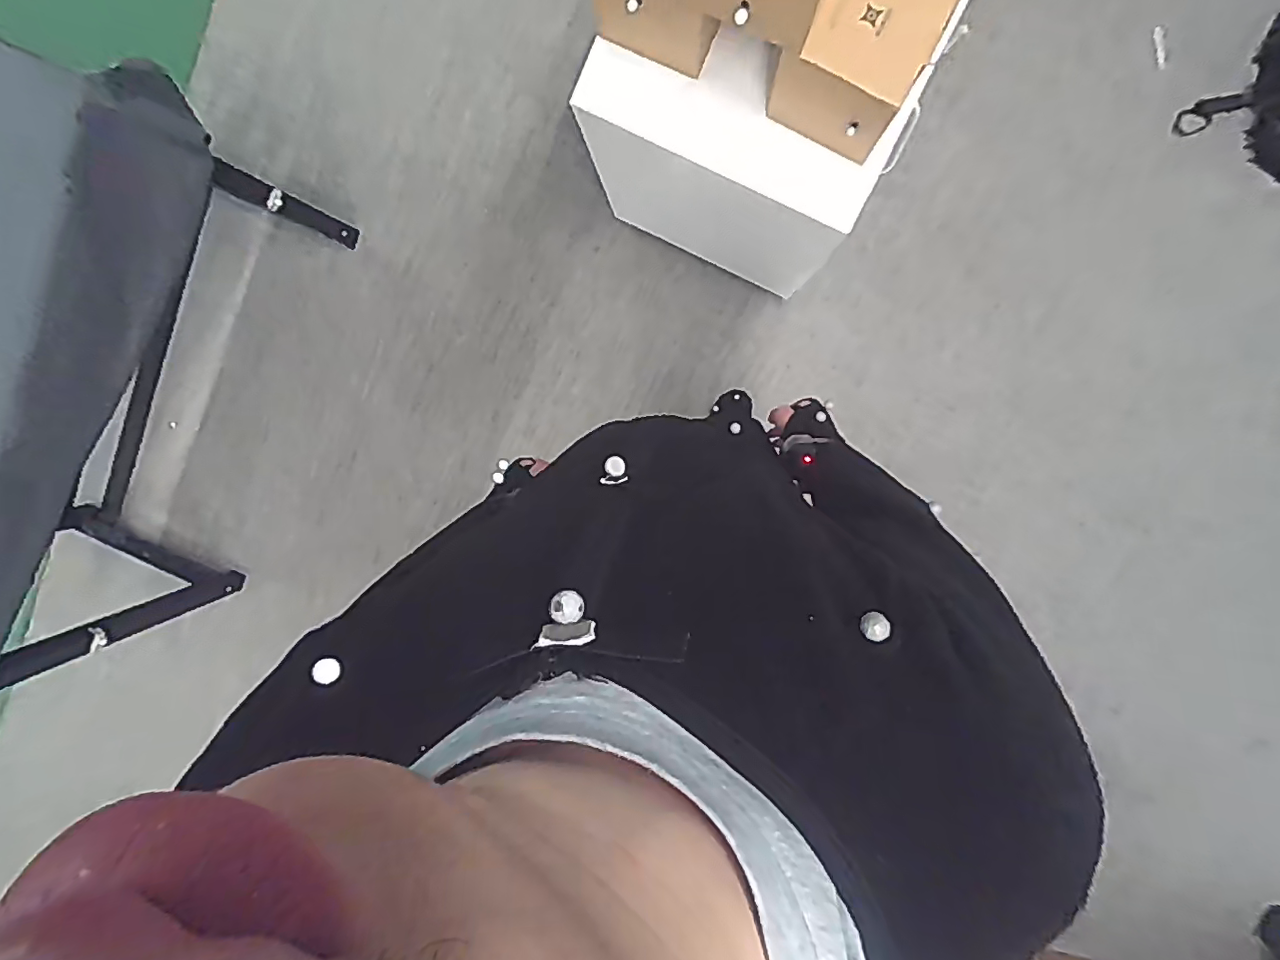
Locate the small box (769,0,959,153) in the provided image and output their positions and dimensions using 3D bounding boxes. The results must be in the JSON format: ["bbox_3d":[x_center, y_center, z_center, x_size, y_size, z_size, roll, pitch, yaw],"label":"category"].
[{"bbox_3d":[0.302,-0.599,0.759,0.179,0.176,0.168,28,99,3],"label":"small box"}]

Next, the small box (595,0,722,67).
[{"bbox_3d":[0.037,-0.737,0.761,0.179,0.176,0.168,25,100,0],"label":"small box"}]

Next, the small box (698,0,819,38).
[{"bbox_3d":[0.153,-0.648,0.599,0.179,0.176,0.168,24,99,0],"label":"small box"}]
